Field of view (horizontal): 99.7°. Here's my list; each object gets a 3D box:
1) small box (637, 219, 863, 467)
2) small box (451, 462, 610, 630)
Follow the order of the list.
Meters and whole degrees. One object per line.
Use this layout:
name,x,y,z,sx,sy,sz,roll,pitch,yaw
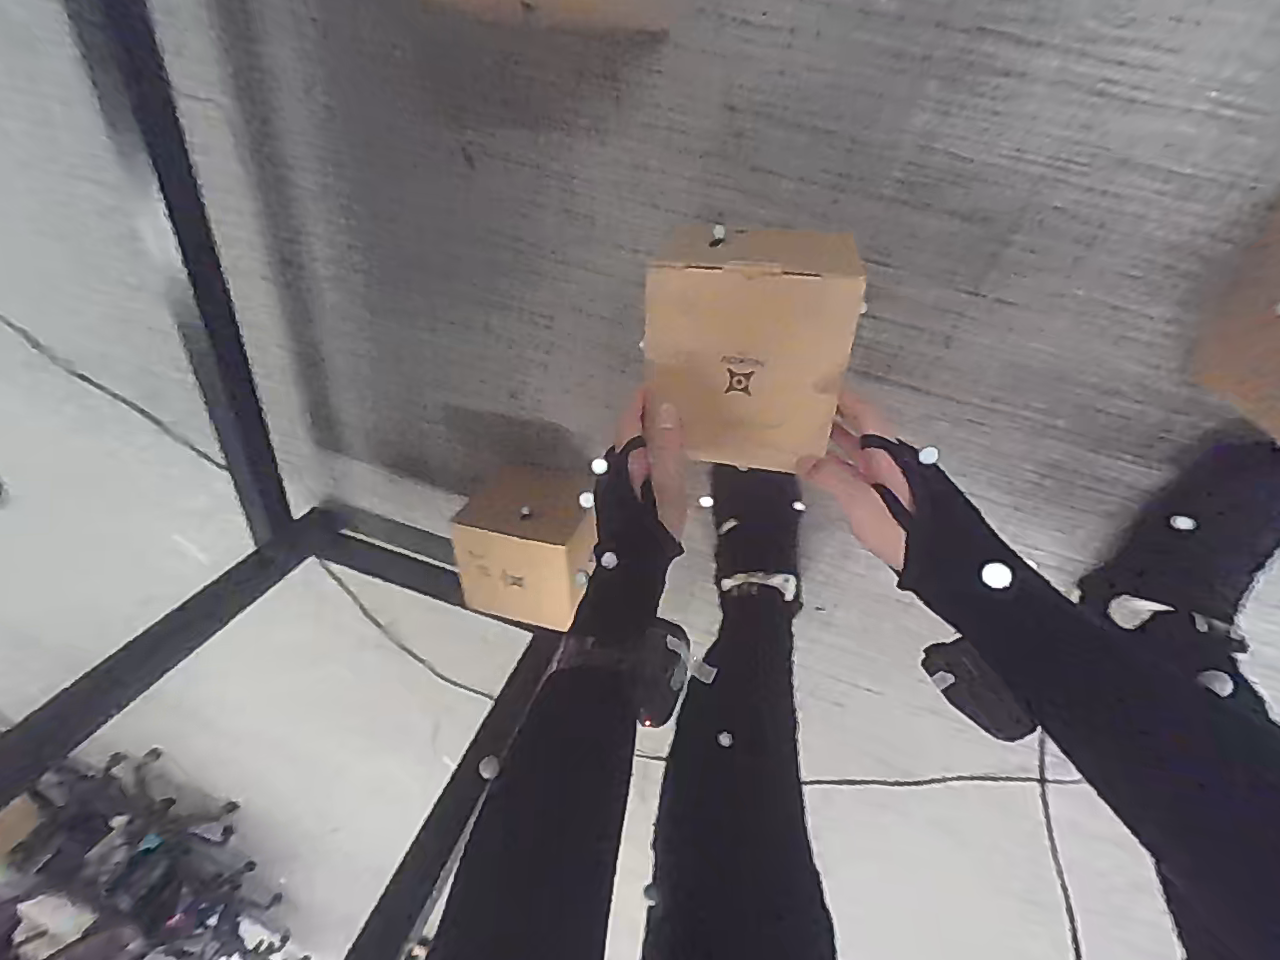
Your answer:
small box,0.096,-0.137,0.506,0.168,0.176,0.179,8,126,11
small box,-0.148,0.090,0.806,0.179,0.176,0.168,11,124,13
